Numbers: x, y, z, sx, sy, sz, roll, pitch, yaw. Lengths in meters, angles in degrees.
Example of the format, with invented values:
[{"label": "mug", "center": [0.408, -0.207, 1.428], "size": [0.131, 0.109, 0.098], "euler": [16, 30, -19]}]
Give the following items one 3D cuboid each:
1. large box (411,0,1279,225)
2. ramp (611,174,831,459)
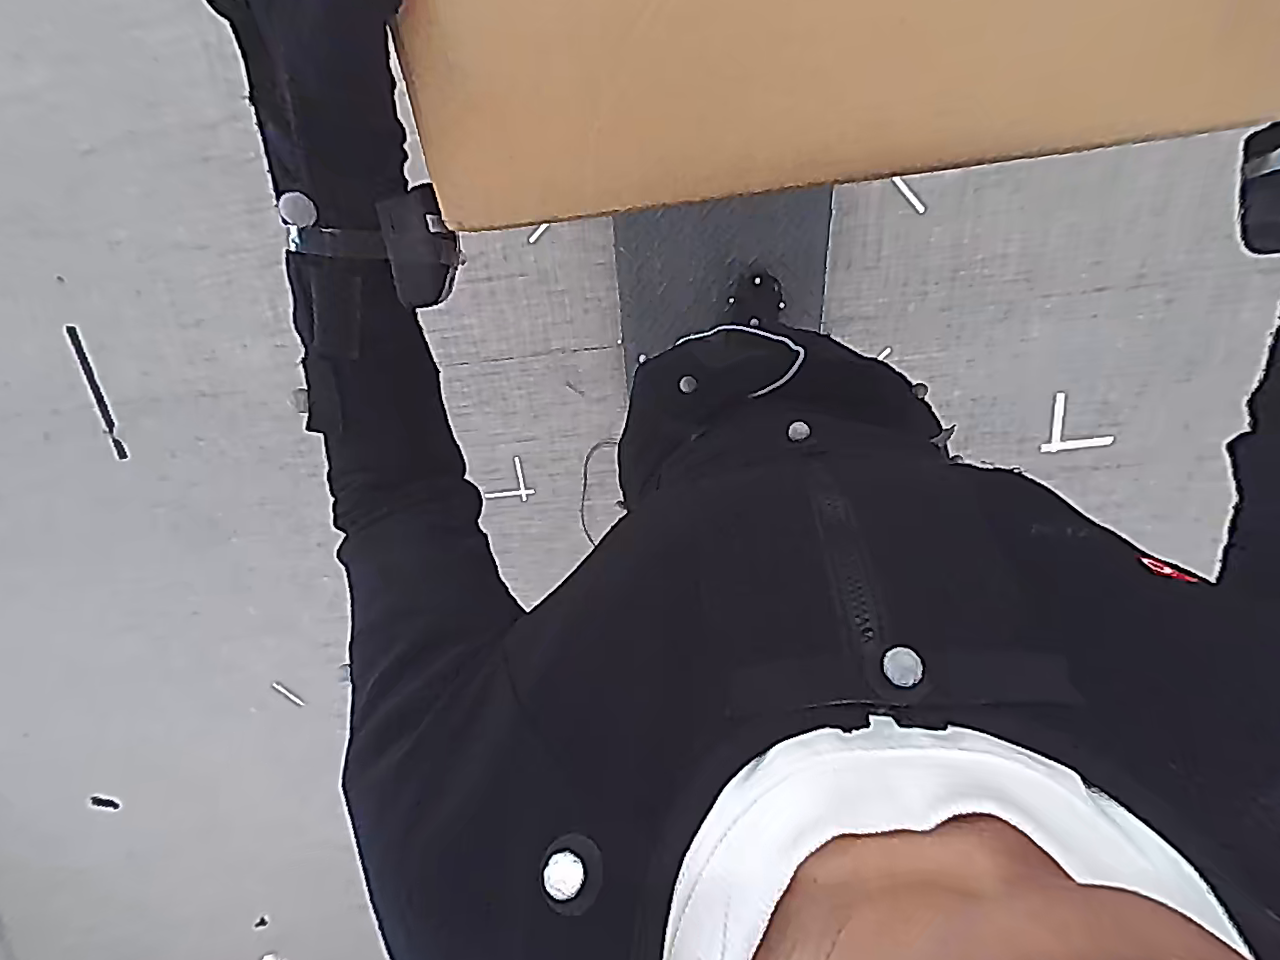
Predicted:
[{"label": "large box", "center": [0.087, -0.364, 0.338], "size": [0.408, 0.320, 0.320], "euler": [-5, 118, 7]}, {"label": "ramp", "center": [0.187, -0.502, 1.277], "size": [0.509, 0.206, 0.991], "euler": [-4, 110, 5]}]
